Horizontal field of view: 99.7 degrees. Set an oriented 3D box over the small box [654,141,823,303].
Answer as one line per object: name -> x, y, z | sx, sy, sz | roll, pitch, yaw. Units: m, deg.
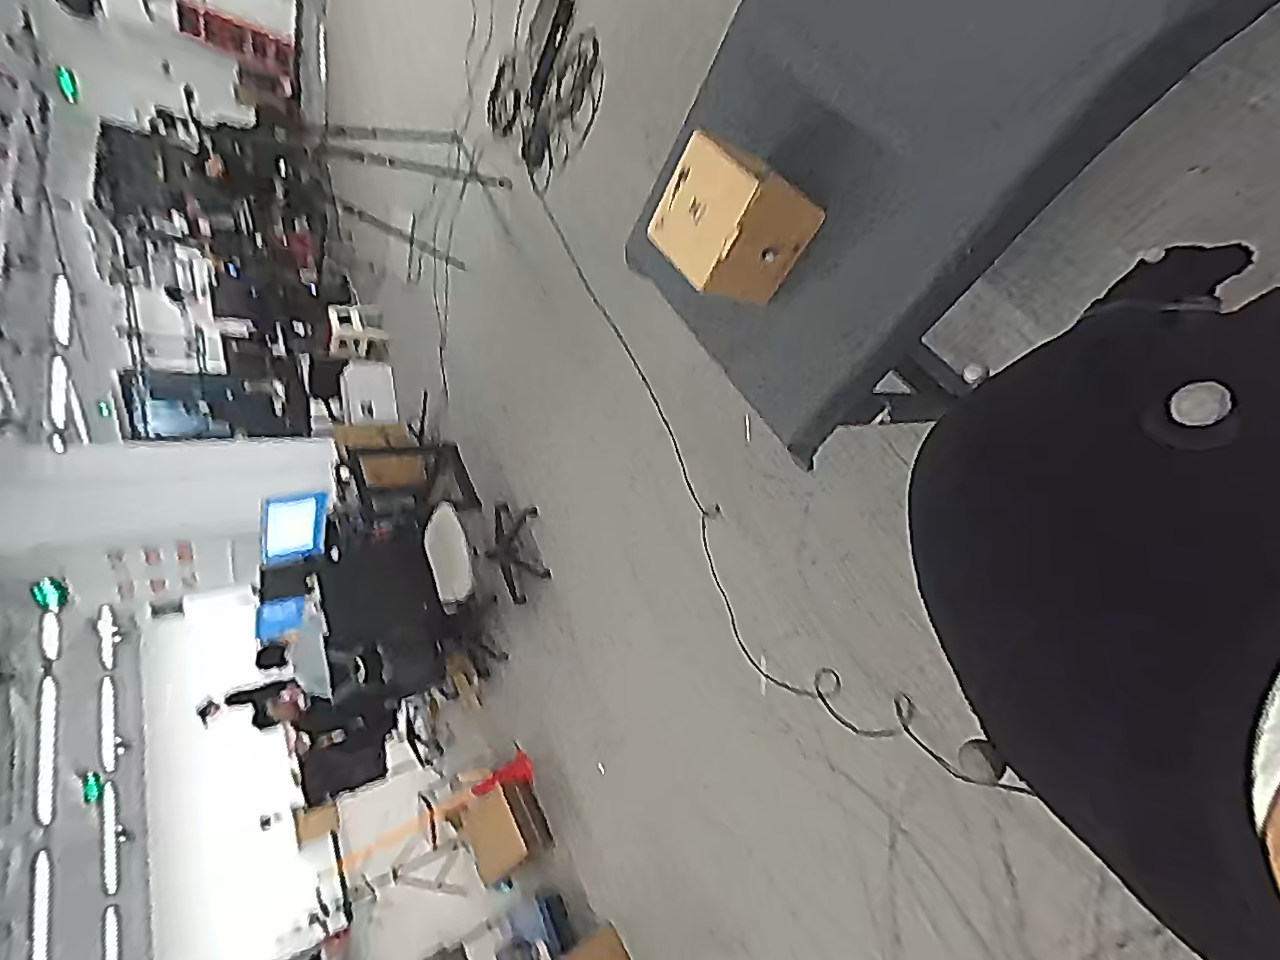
small box -> 0.160, -0.408, 0.882 | 0.179, 0.176, 0.168 | 58, 134, 28
